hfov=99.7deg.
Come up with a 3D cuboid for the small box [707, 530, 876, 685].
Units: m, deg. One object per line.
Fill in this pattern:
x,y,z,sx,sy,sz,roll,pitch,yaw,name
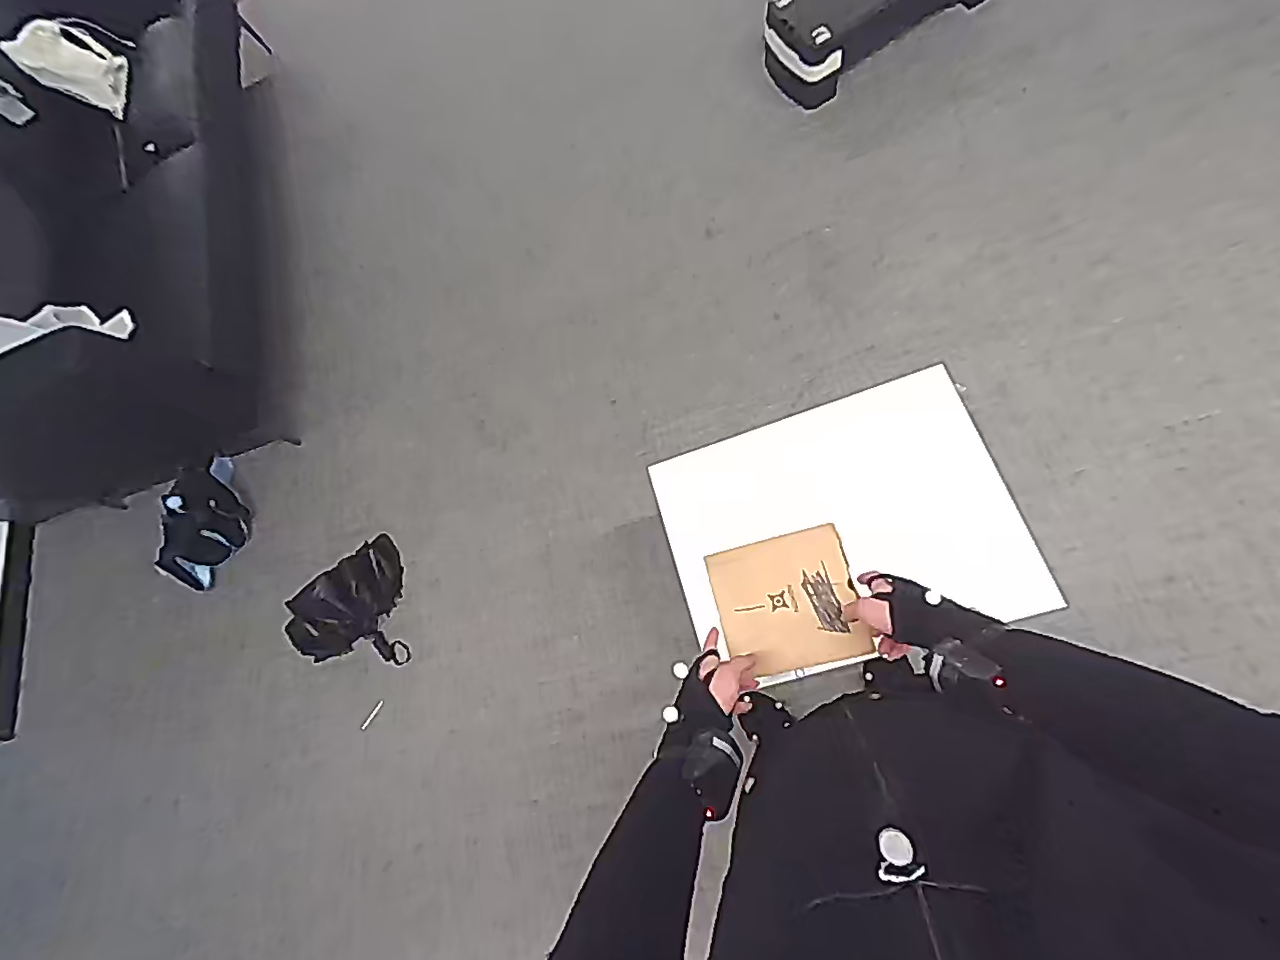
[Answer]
0.206,0.178,0.756,0.179,0.176,0.168,-16,71,12,small box
